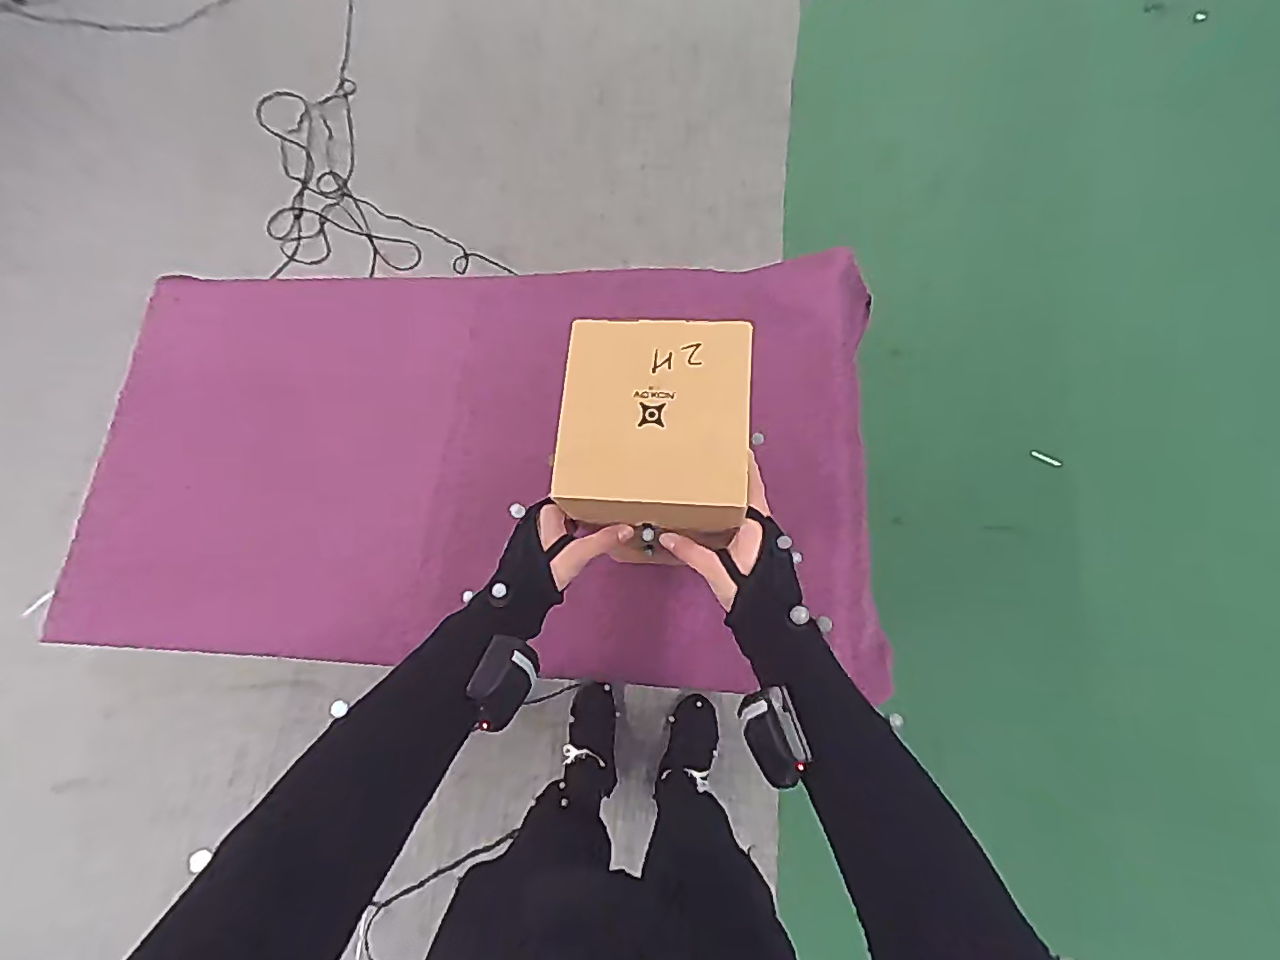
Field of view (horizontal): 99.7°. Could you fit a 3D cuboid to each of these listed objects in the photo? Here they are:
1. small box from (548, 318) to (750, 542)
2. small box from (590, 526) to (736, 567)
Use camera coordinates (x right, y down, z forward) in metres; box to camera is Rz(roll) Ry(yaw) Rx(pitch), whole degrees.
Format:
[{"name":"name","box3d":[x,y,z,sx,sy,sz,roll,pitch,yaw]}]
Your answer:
[{"name":"small box","box3d":[0.019,-0.040,0.541,0.168,0.176,0.179,3,72,7]},{"name":"small box","box3d":[0.038,0.010,0.700,0.168,0.176,0.179,1,73,8]}]
